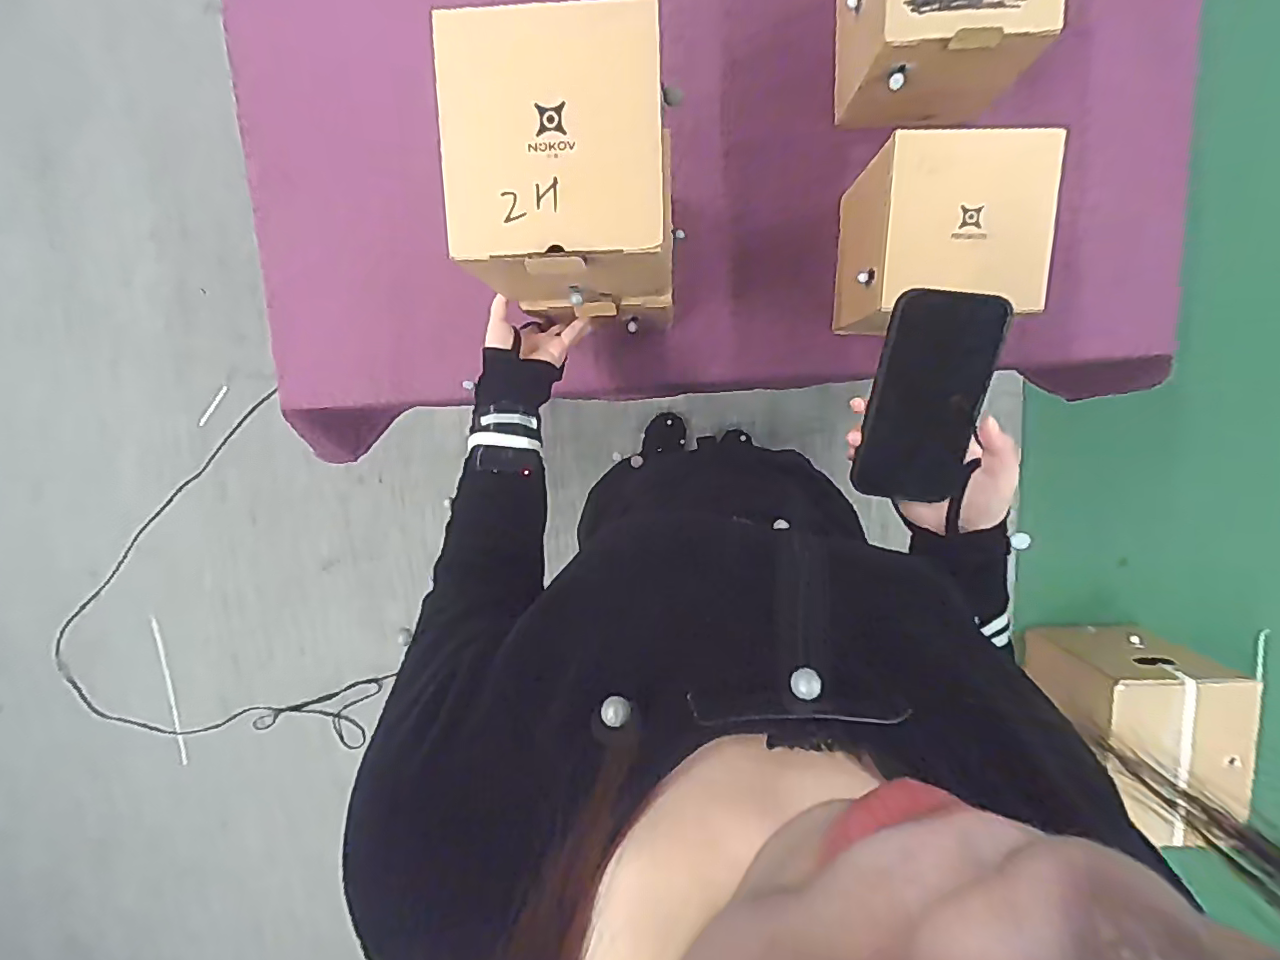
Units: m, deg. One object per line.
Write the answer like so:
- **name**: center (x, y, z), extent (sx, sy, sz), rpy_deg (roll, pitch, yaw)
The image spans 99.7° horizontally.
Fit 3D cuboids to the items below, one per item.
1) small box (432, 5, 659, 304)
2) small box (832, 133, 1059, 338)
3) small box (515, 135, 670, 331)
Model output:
- **small box**: center (-0.068, -0.263, 0.478), extent (0.168, 0.176, 0.179), rpy_deg (0, 97, 3)
- **small box**: center (0.331, -0.266, 0.623), extent (0.168, 0.176, 0.179), rpy_deg (2, 98, 3)
- **small box**: center (-0.048, -0.275, 0.643), extent (0.168, 0.176, 0.179), rpy_deg (0, 97, 3)
